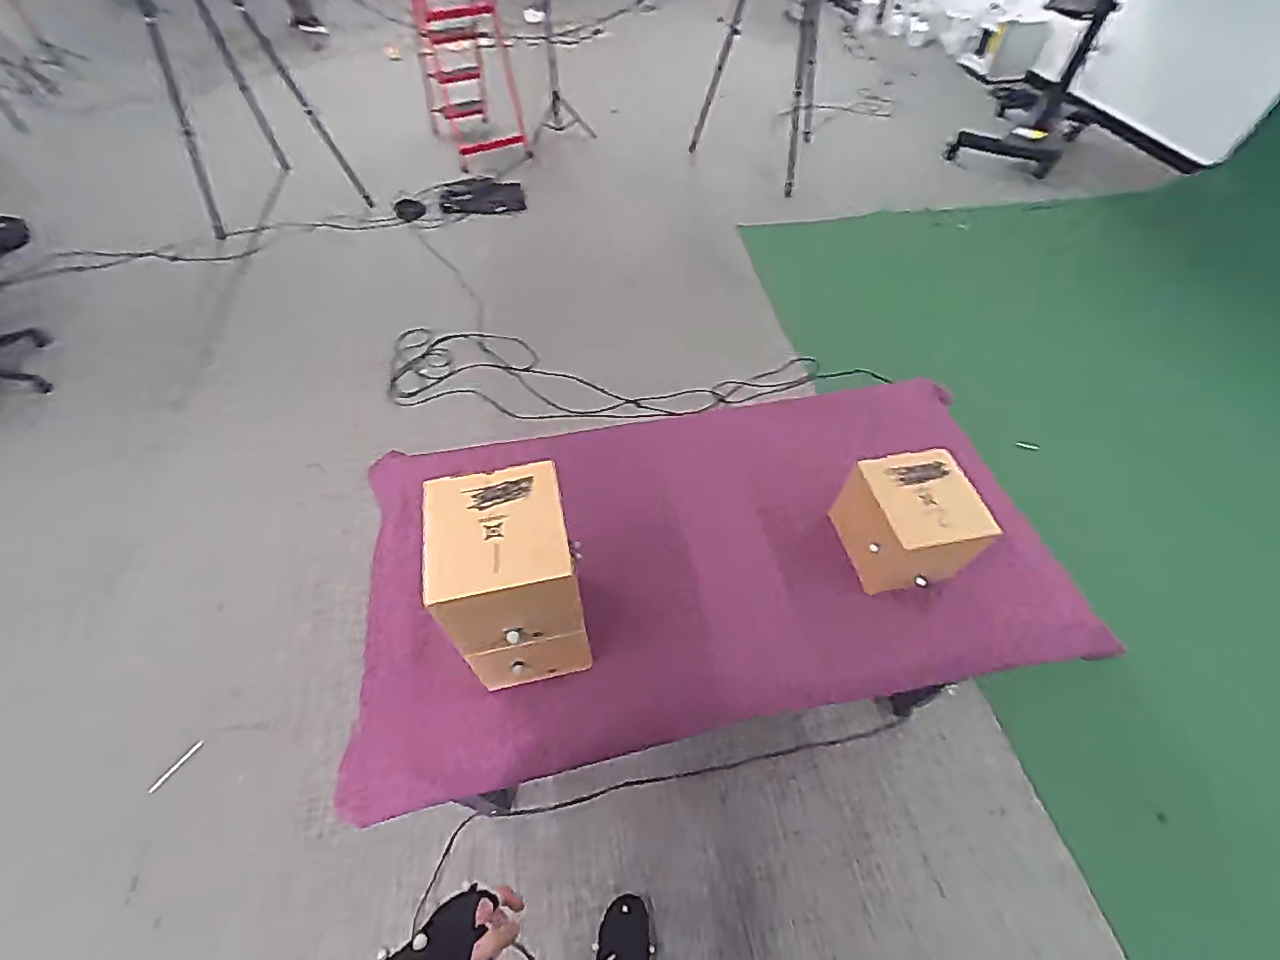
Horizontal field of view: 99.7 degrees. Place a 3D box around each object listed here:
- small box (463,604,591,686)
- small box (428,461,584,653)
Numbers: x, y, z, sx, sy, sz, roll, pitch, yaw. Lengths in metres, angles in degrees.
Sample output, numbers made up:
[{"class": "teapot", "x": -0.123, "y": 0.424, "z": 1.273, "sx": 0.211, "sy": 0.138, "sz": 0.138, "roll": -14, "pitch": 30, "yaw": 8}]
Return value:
[{"class": "small box", "x": -0.173, "y": 0.204, "z": 0.839, "sx": 0.168, "sy": 0.176, "sz": 0.179, "roll": -10, "pitch": 53, "yaw": -9}, {"class": "small box", "x": -0.170, "y": 0.102, "z": 0.710, "sx": 0.168, "sy": 0.176, "sz": 0.179, "roll": -10, "pitch": 54, "yaw": -8}]
